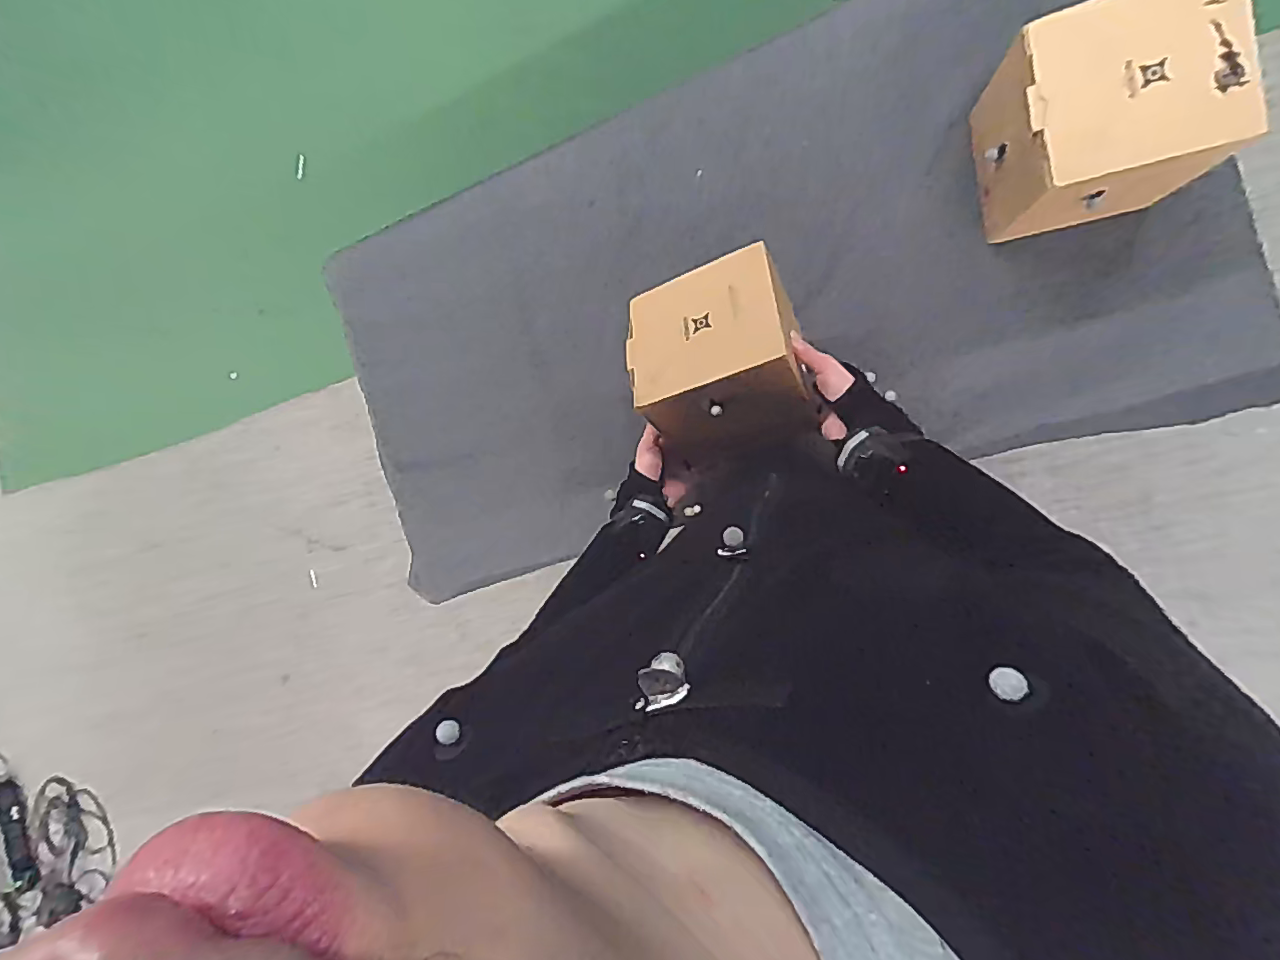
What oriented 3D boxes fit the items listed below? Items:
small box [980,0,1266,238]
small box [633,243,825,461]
[{"bbox_3d":[0.493,-0.386,0.585,0.179,0.176,0.168,-9,93,15],"label":"small box"},{"bbox_3d":[0.109,-0.142,0.664,0.179,0.176,0.168,-16,61,25],"label":"small box"}]
